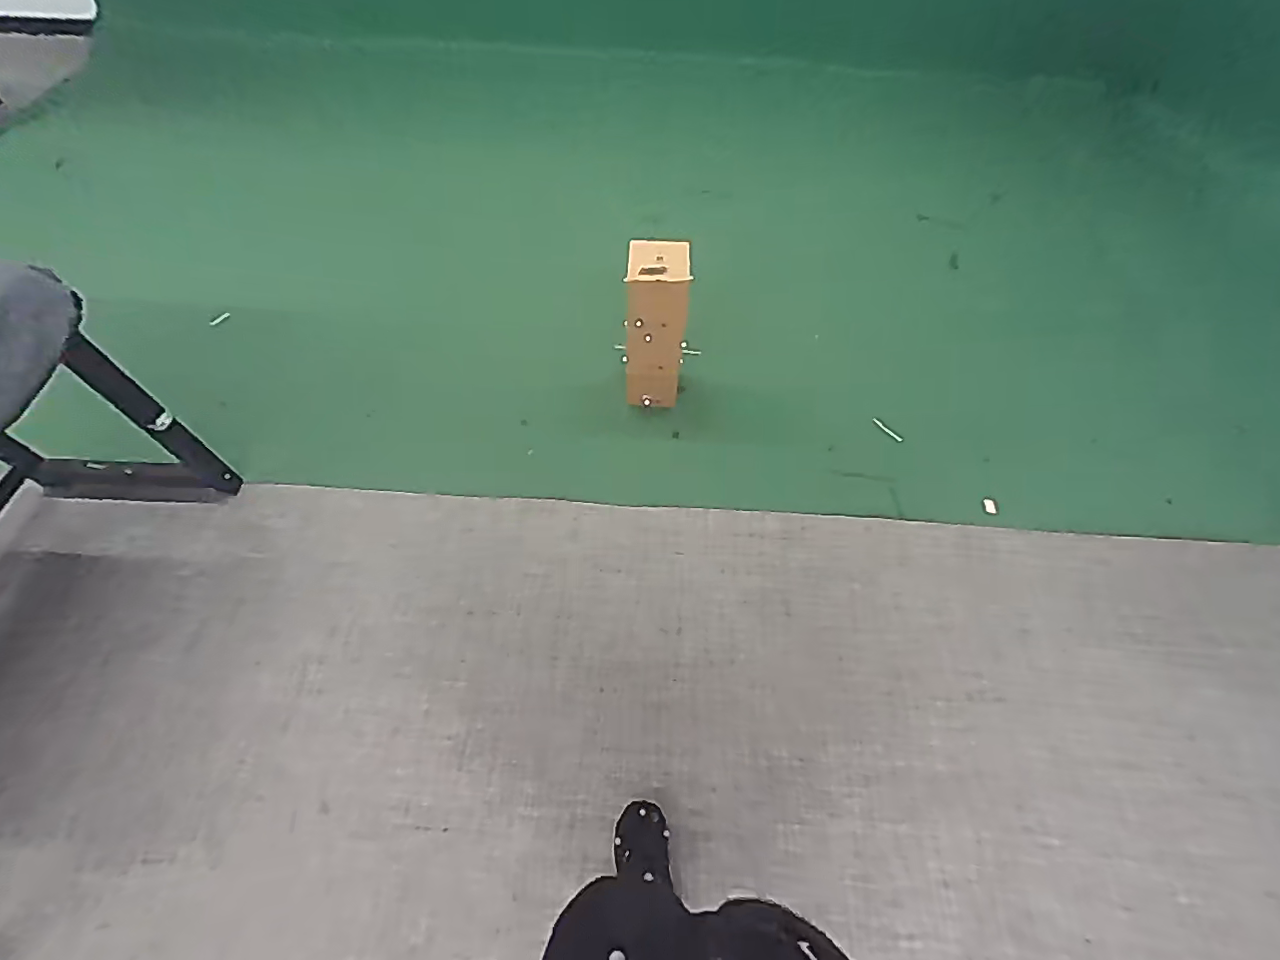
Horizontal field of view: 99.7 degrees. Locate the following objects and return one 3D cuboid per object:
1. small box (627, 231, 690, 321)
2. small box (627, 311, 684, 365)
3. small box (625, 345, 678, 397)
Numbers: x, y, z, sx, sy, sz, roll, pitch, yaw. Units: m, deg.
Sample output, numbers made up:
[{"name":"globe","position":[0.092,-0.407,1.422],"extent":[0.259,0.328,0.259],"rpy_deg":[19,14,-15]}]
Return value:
[{"name":"small box","position":[0.052,-0.564,1.504],"extent":[0.168,0.176,0.179],"rpy_deg":[3,57,0]},{"name":"small box","position":[0.048,-0.475,1.642],"extent":[0.168,0.176,0.179],"rpy_deg":[4,57,2]},{"name":"small box","position":[0.041,-0.398,1.765],"extent":[0.168,0.176,0.179],"rpy_deg":[4,58,3]}]
